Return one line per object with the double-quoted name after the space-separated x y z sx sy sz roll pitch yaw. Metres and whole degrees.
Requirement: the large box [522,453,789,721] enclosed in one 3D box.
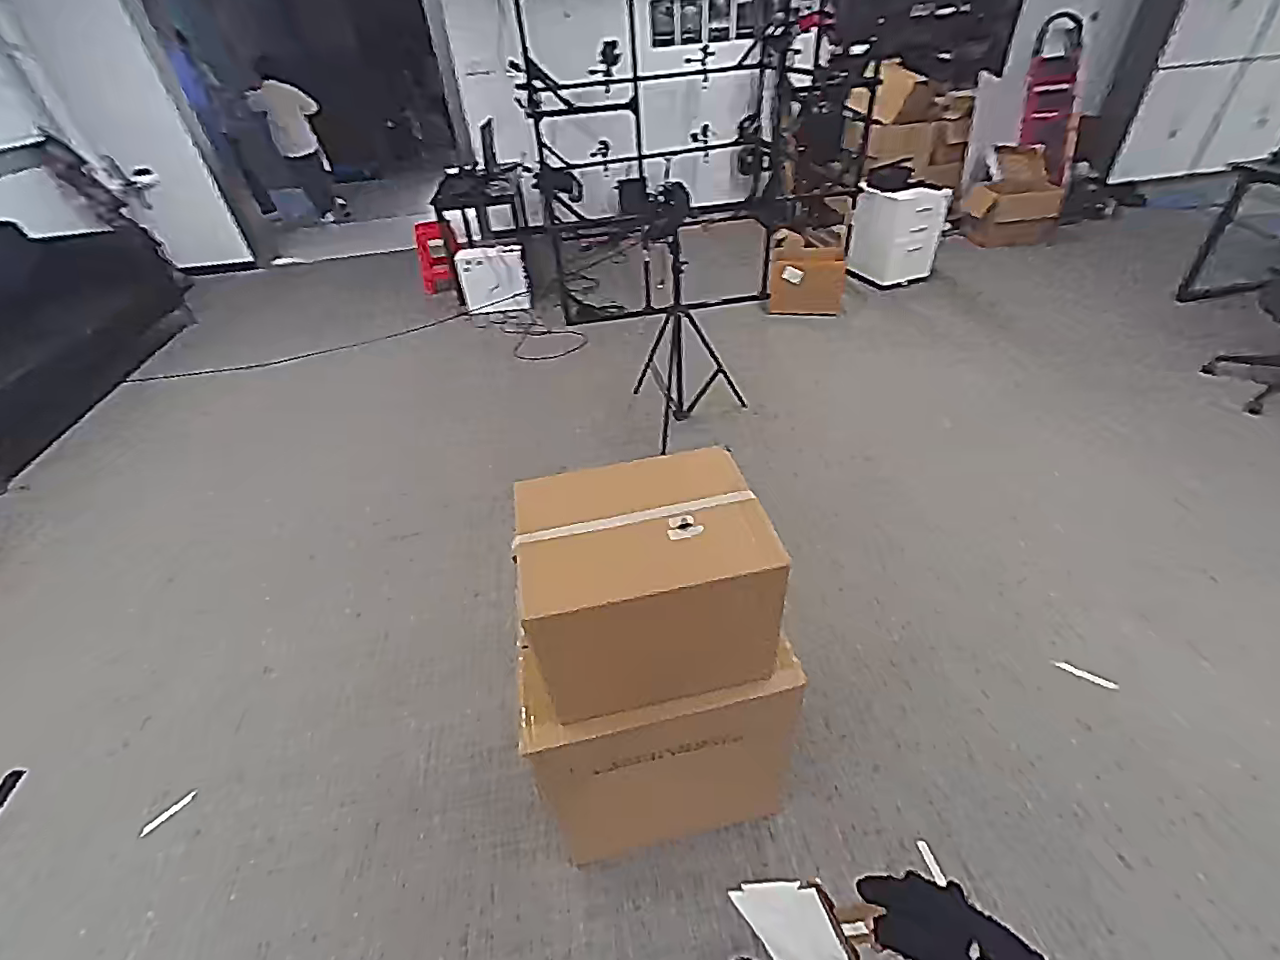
0.013 0.190 1.005 0.408 0.320 0.320 -10 40 -7 "large box"
